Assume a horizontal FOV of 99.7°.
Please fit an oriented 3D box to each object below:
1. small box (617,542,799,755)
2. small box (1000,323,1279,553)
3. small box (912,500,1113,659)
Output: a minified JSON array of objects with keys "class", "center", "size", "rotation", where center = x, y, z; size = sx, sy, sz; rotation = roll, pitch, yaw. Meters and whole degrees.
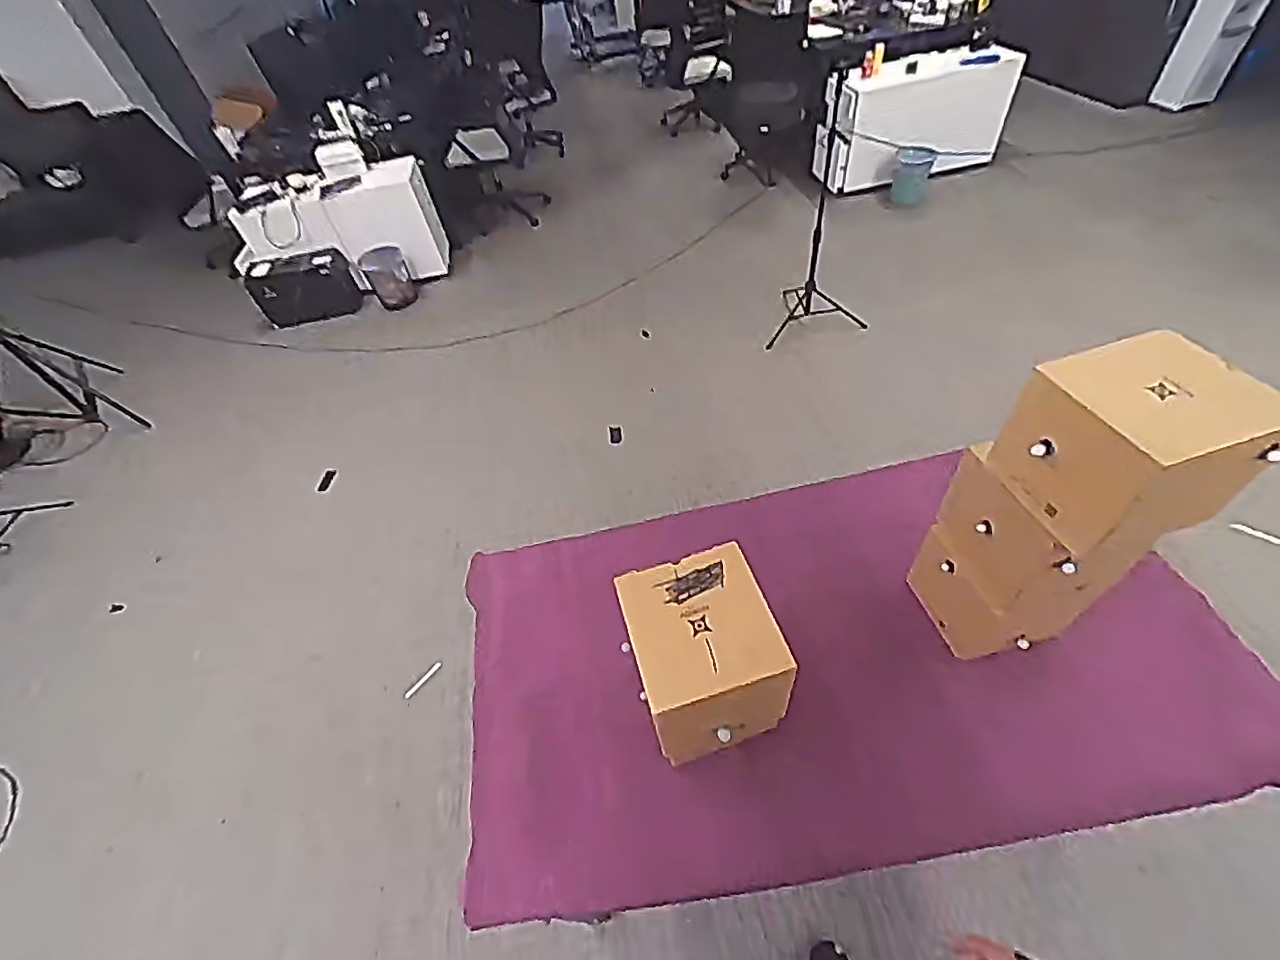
[{"class":"small box","center":[0.078,0.212,0.676],"size":[0.168,0.176,0.179],"rotation":[-17,49,-5]},{"class":"small box","center":[0.546,-0.043,0.605],"size":[0.179,0.176,0.168],"rotation":[-17,48,-5]},{"class":"small box","center":[0.572,0.160,0.862],"size":[0.179,0.176,0.168],"rotation":[-14,48,-4]}]
